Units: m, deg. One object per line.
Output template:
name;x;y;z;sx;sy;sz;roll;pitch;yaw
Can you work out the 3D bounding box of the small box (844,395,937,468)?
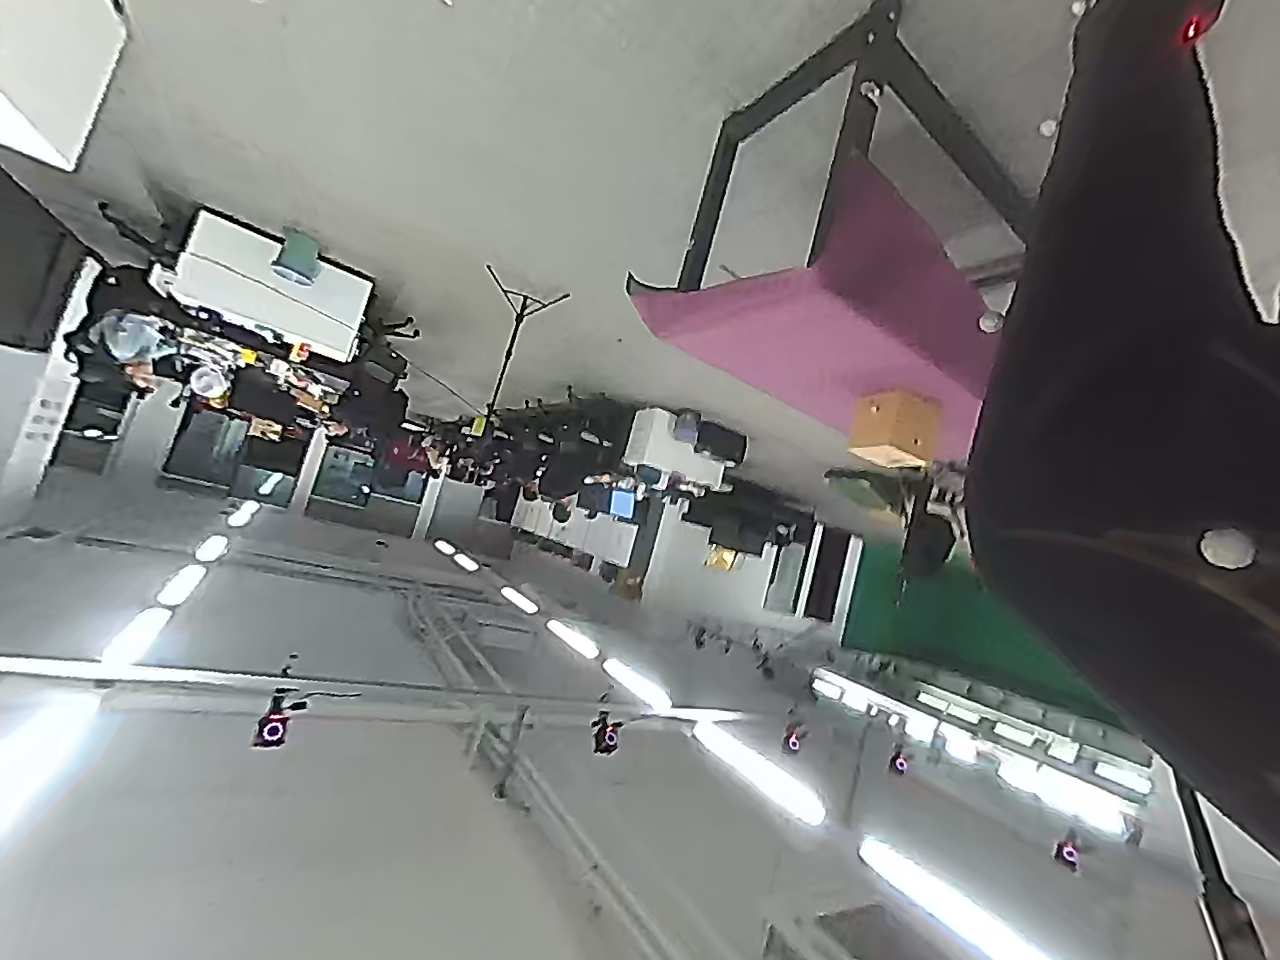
small box;0.744;-0.139;1.601;0.179;0.176;0.168;19;173;-21
